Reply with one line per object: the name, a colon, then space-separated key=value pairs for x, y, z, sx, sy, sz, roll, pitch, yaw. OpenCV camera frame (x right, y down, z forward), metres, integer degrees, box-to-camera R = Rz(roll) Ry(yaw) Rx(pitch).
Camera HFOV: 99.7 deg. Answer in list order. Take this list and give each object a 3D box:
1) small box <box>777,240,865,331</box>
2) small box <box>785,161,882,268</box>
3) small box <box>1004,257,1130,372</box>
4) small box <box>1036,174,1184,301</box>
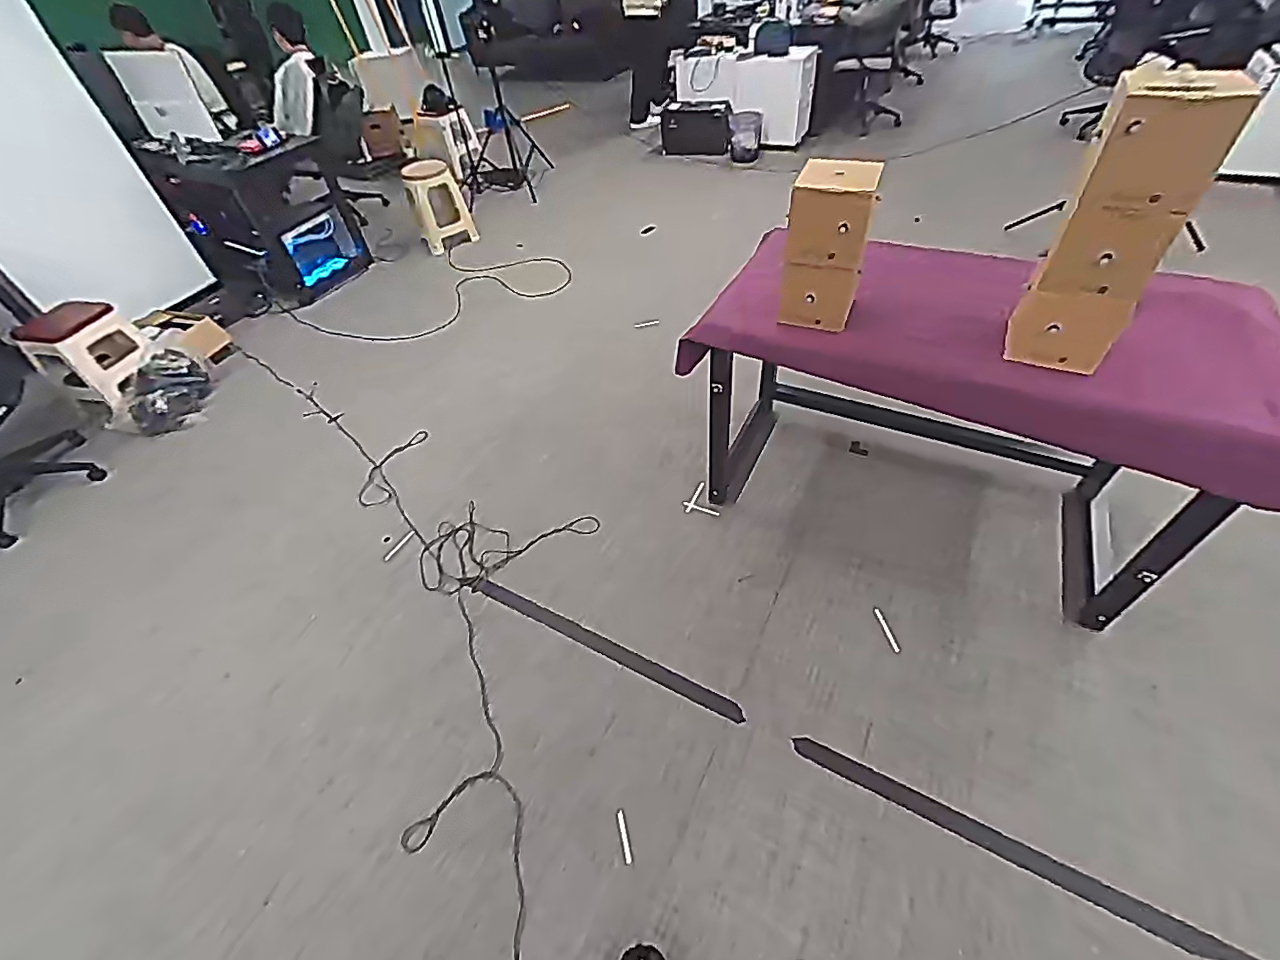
small box: x=0.447 y=-0.495 z=1.347 sx=0.168 sy=0.176 sz=0.179 roll=16 pitch=50 yaw=19
small box: x=0.432 y=-0.599 z=1.223 sx=0.168 sy=0.176 sz=0.179 roll=14 pitch=49 yaw=17
small box: x=0.915 y=-0.357 z=1.171 sx=0.168 sy=0.176 sz=0.179 roll=18 pitch=51 yaw=22
small box: x=0.904 y=-0.471 z=1.054 sx=0.168 sy=0.176 sz=0.179 roll=19 pitch=52 yaw=23
